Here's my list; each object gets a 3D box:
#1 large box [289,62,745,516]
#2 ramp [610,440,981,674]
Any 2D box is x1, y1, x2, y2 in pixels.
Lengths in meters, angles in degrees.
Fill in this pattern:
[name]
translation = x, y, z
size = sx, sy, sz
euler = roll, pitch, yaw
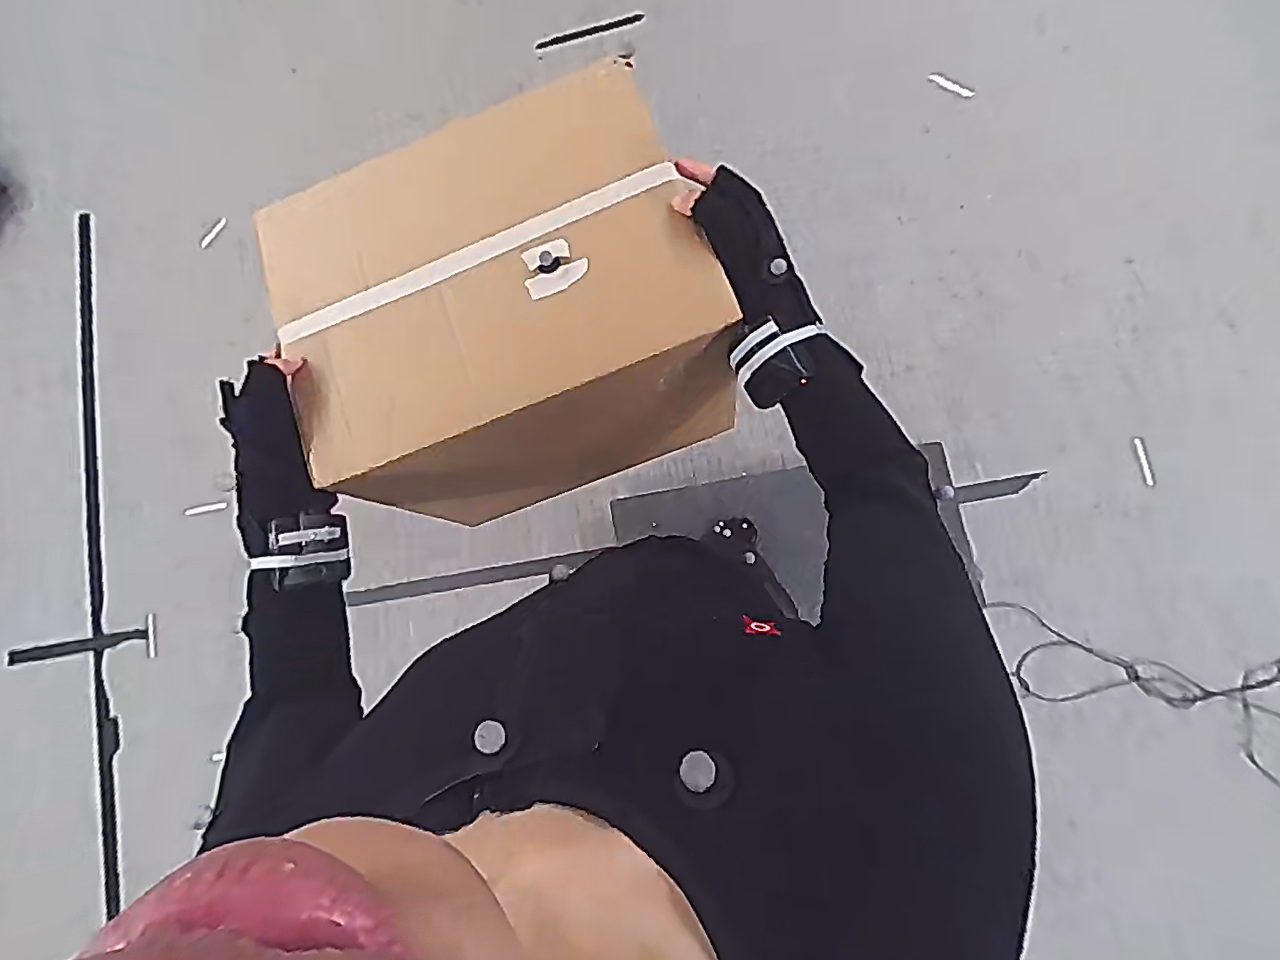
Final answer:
[large box]
translation = -0.119, -0.183, 0.663
size = 0.408, 0.320, 0.320
euler = -20, 76, 3
[ramp]
translation = 0.444, 0.197, 1.535
size = 0.991, 0.206, 0.509
euler = -13, 80, 4
